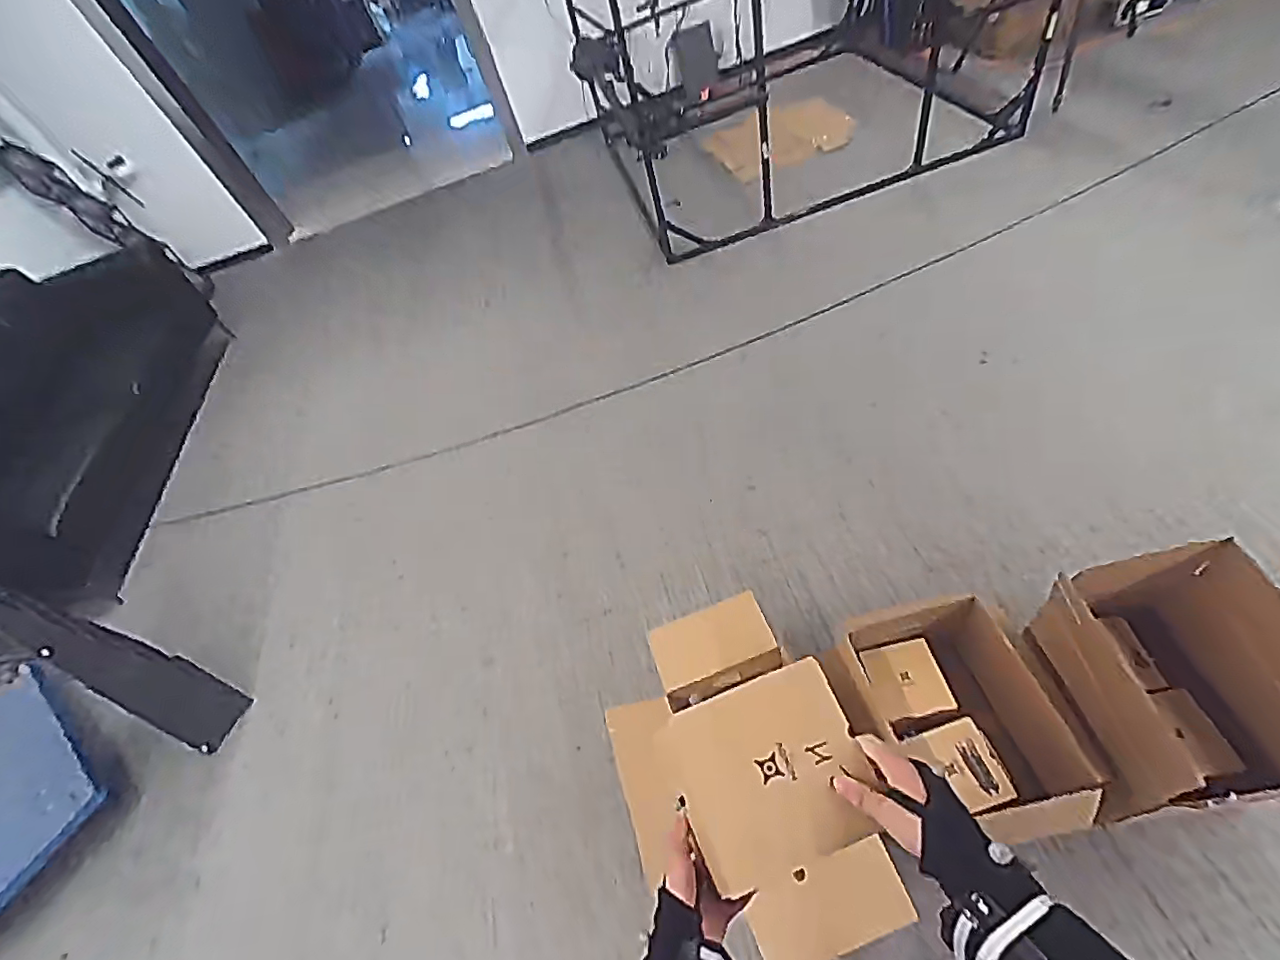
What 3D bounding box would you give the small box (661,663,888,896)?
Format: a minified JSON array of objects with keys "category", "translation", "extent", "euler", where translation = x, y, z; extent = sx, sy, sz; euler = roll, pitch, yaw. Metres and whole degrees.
[{"category":"small box","translation":[0.130,0.334,0.608],"extent":[0.179,0.176,0.168],"euler":[-15,59,-15]}]
